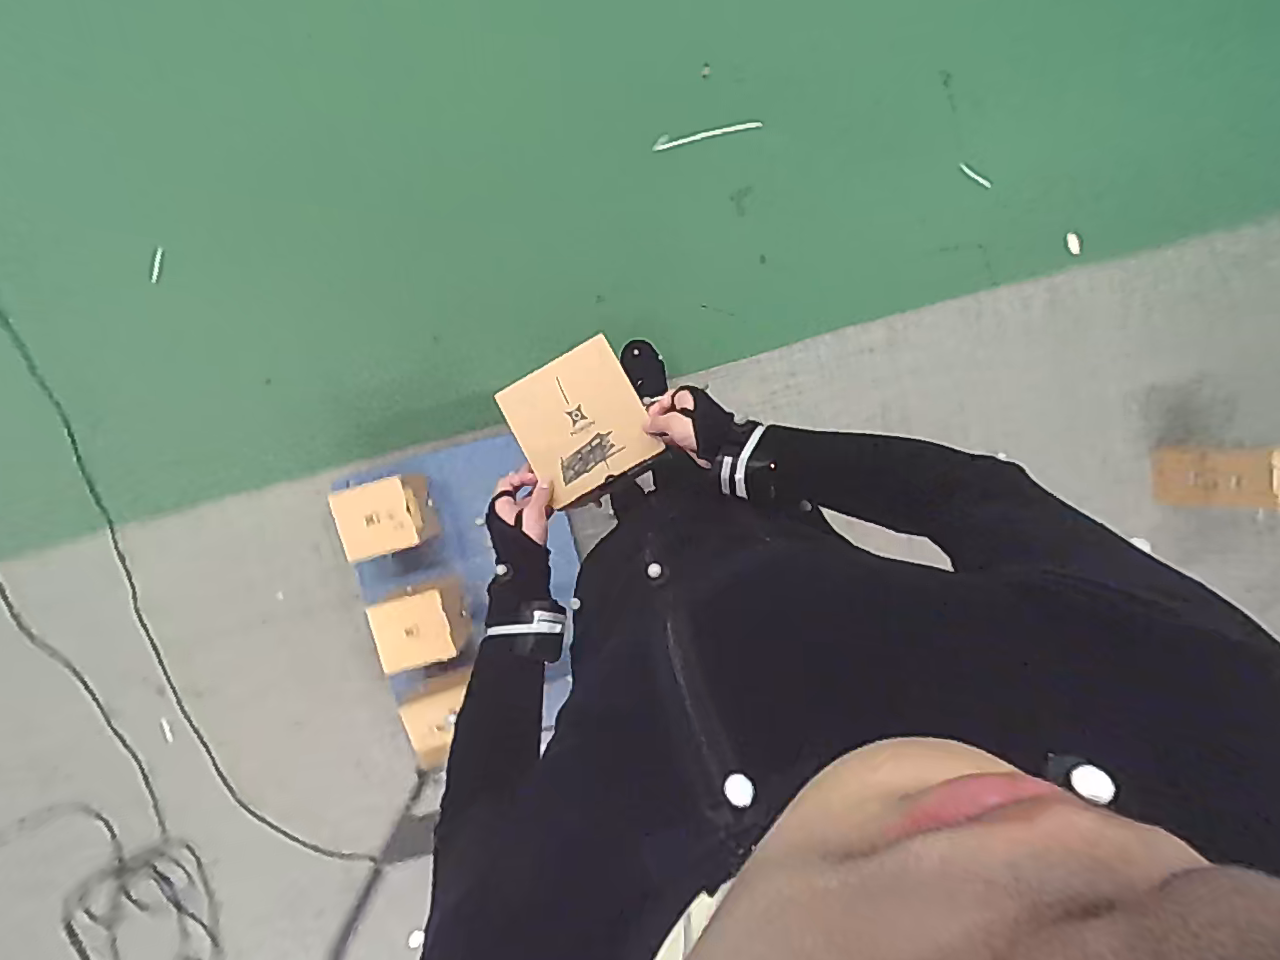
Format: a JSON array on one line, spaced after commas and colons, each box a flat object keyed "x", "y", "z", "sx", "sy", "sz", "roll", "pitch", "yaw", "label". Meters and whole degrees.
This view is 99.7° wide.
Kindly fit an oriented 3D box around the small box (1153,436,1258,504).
[{"x": 1.709, "y": -0.031, "z": 1.632, "sx": 0.168, "sy": 0.176, "sz": 0.179, "roll": -11, "pitch": 93, "yaw": -2, "label": "small box"}]

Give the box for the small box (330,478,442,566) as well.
[{"x": -0.617, "y": 0.096, "z": 1.333, "sx": 0.179, "sy": 0.176, "sz": 0.168, "roll": -16, "pitch": 95, "yaw": -2, "label": "small box"}]

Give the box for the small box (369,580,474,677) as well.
[{"x": -0.538, "y": 0.364, "z": 1.354, "sx": 0.179, "sy": 0.176, "sz": 0.168, "roll": -15, "pitch": 93, "yaw": -3, "label": "small box"}]

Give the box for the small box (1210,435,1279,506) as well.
[{"x": 1.711, "y": -0.027, "z": 1.468, "sx": 0.179, "sy": 0.176, "sz": 0.168, "roll": -11, "pitch": 93, "yaw": -1, "label": "small box"}]

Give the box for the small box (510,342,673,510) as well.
[{"x": -0.058, "y": -0.070, "z": 0.791, "sx": 0.168, "sy": 0.176, "sz": 0.179, "roll": -28, "pitch": 85, "yaw": 3, "label": "small box"}]
